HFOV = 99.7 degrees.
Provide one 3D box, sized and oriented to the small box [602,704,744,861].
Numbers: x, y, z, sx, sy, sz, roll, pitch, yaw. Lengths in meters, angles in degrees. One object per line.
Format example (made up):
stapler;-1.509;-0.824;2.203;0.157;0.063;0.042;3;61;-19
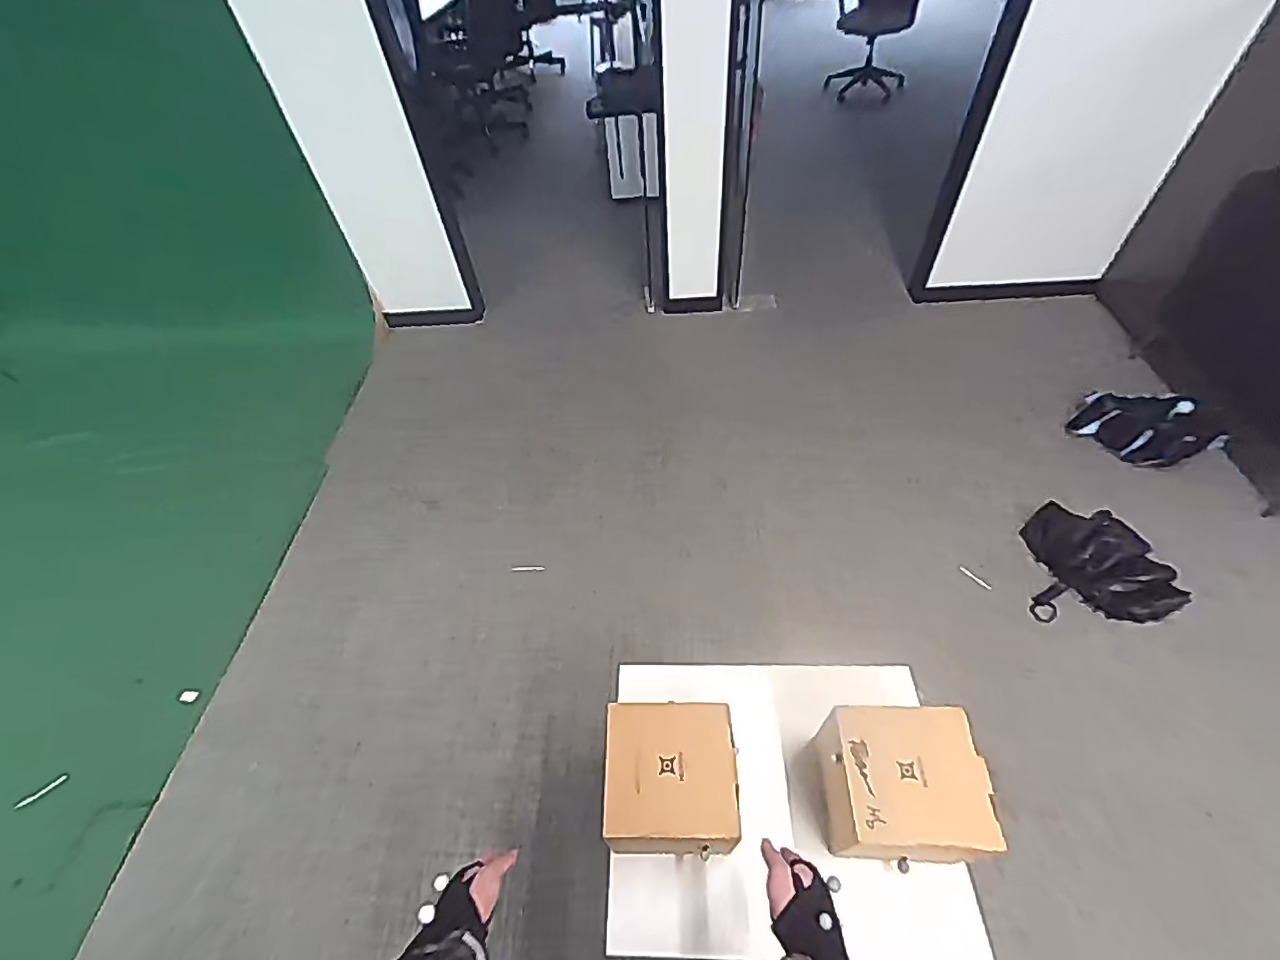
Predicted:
small box;0.039;0.428;0.763;0.179;0.176;0.168;-1;48;0

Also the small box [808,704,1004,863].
small box;0.352;0.427;0.757;0.179;0.176;0.168;1;50;2
